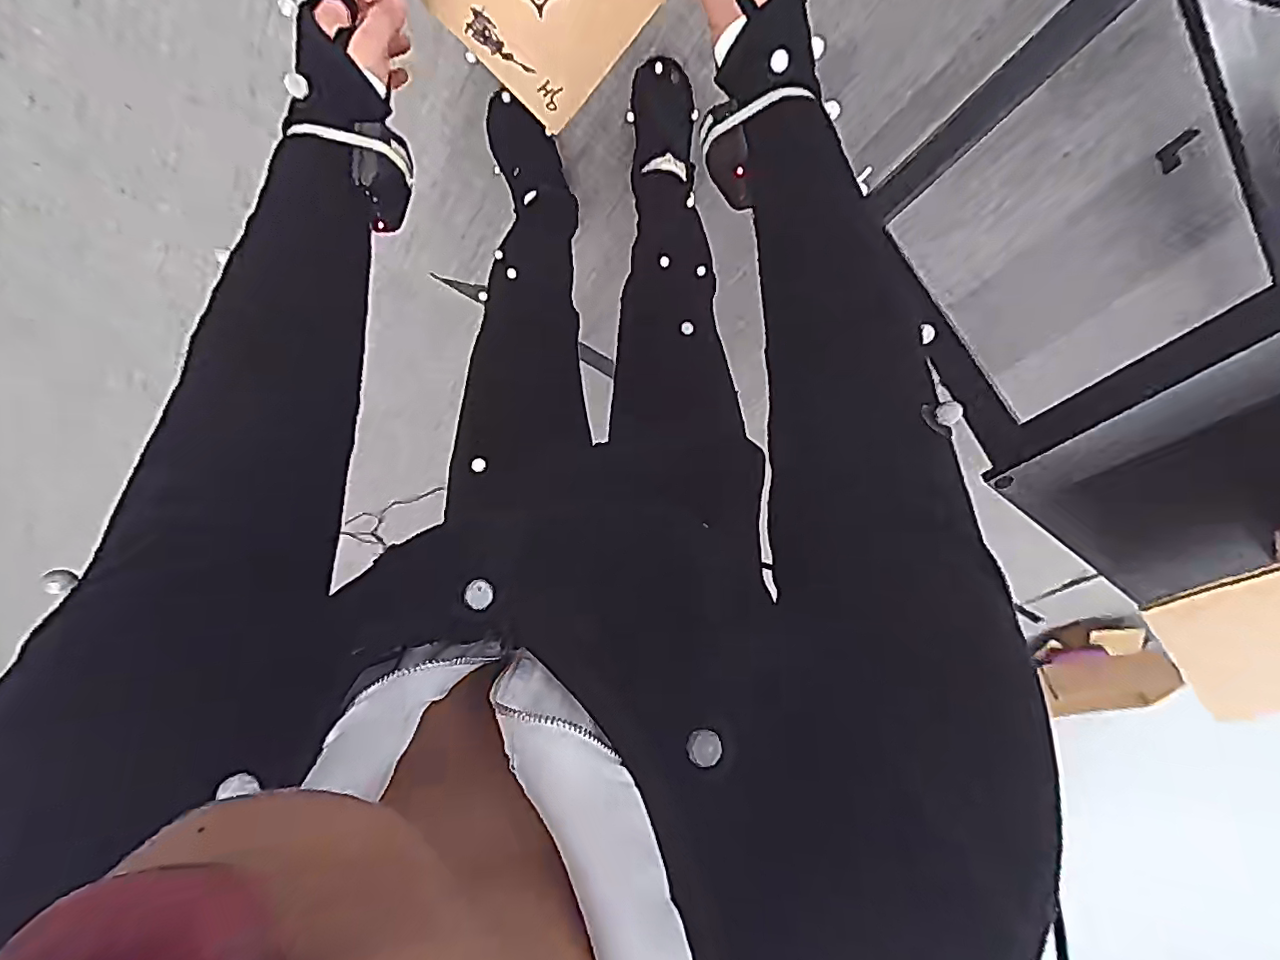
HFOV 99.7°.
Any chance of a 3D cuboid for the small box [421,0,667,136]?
[{"bbox_3d":[-0.090,-0.498,0.530,0.179,0.176,0.168,-34,133,30],"label":"small box"}]
